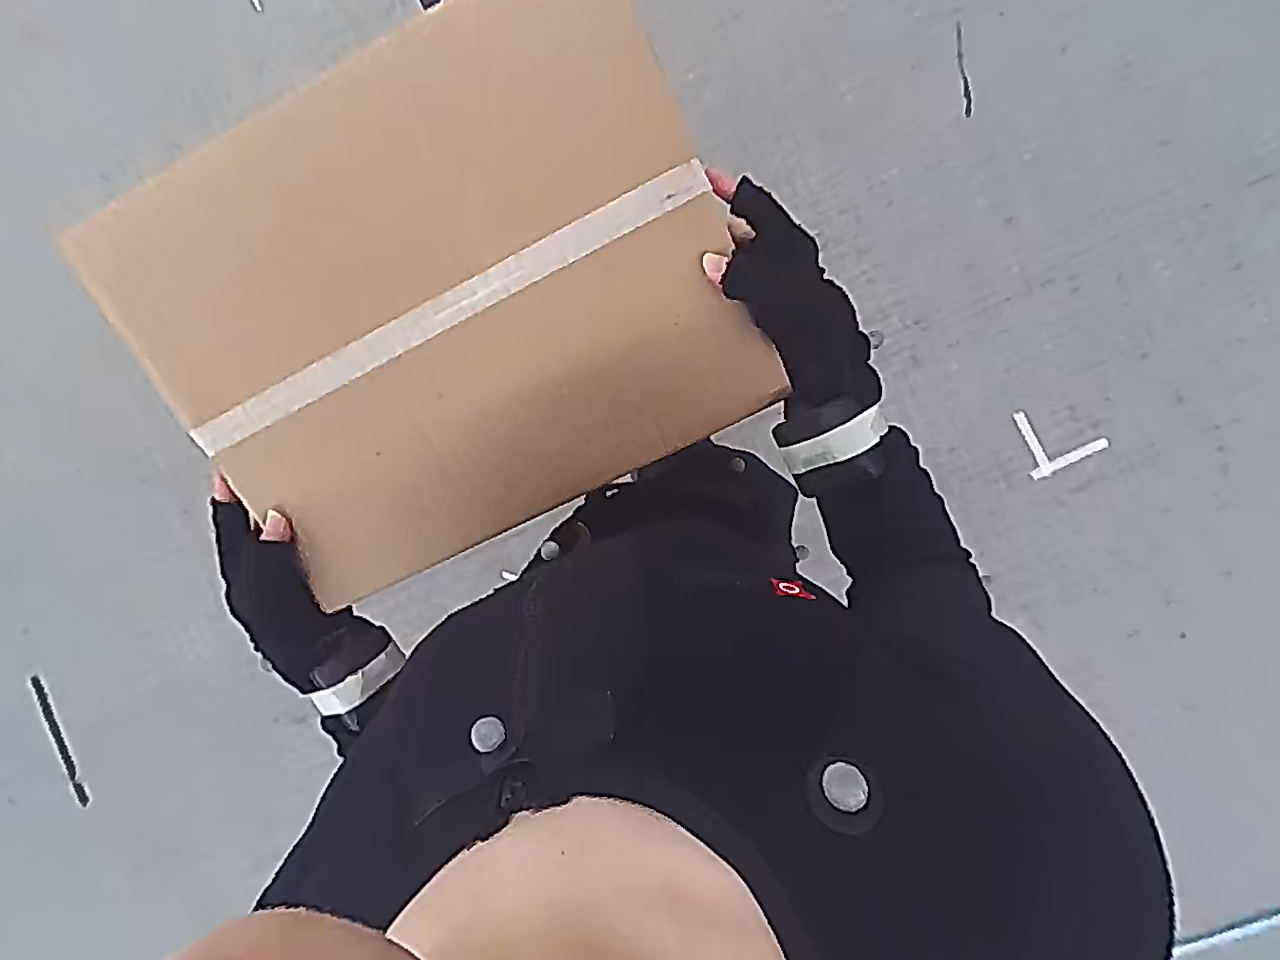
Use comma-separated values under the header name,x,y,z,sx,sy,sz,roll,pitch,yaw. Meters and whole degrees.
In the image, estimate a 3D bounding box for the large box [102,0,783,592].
name,x,y,z,sx,sy,sz,roll,pitch,yaw
large box,-0.136,-0.159,0.529,0.408,0.320,0.320,-25,104,7
